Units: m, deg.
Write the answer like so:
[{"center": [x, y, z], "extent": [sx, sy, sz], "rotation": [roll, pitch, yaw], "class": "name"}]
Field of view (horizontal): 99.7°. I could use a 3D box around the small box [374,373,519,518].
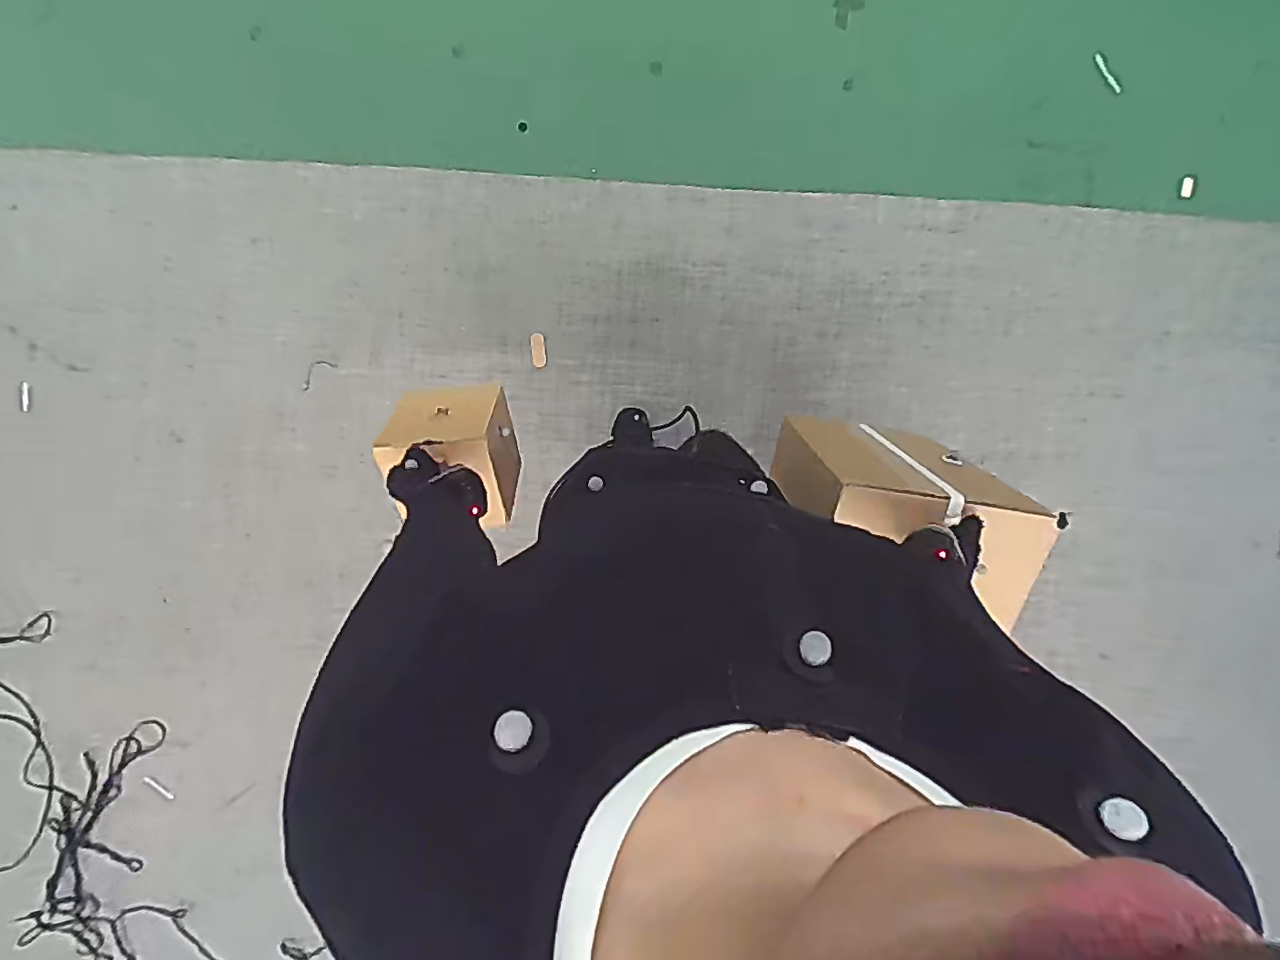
[{"center": [-0.301, -0.058, 0.889], "extent": [0.168, 0.179, 0.176], "rotation": [-4, 129, 0], "class": "small box"}]
